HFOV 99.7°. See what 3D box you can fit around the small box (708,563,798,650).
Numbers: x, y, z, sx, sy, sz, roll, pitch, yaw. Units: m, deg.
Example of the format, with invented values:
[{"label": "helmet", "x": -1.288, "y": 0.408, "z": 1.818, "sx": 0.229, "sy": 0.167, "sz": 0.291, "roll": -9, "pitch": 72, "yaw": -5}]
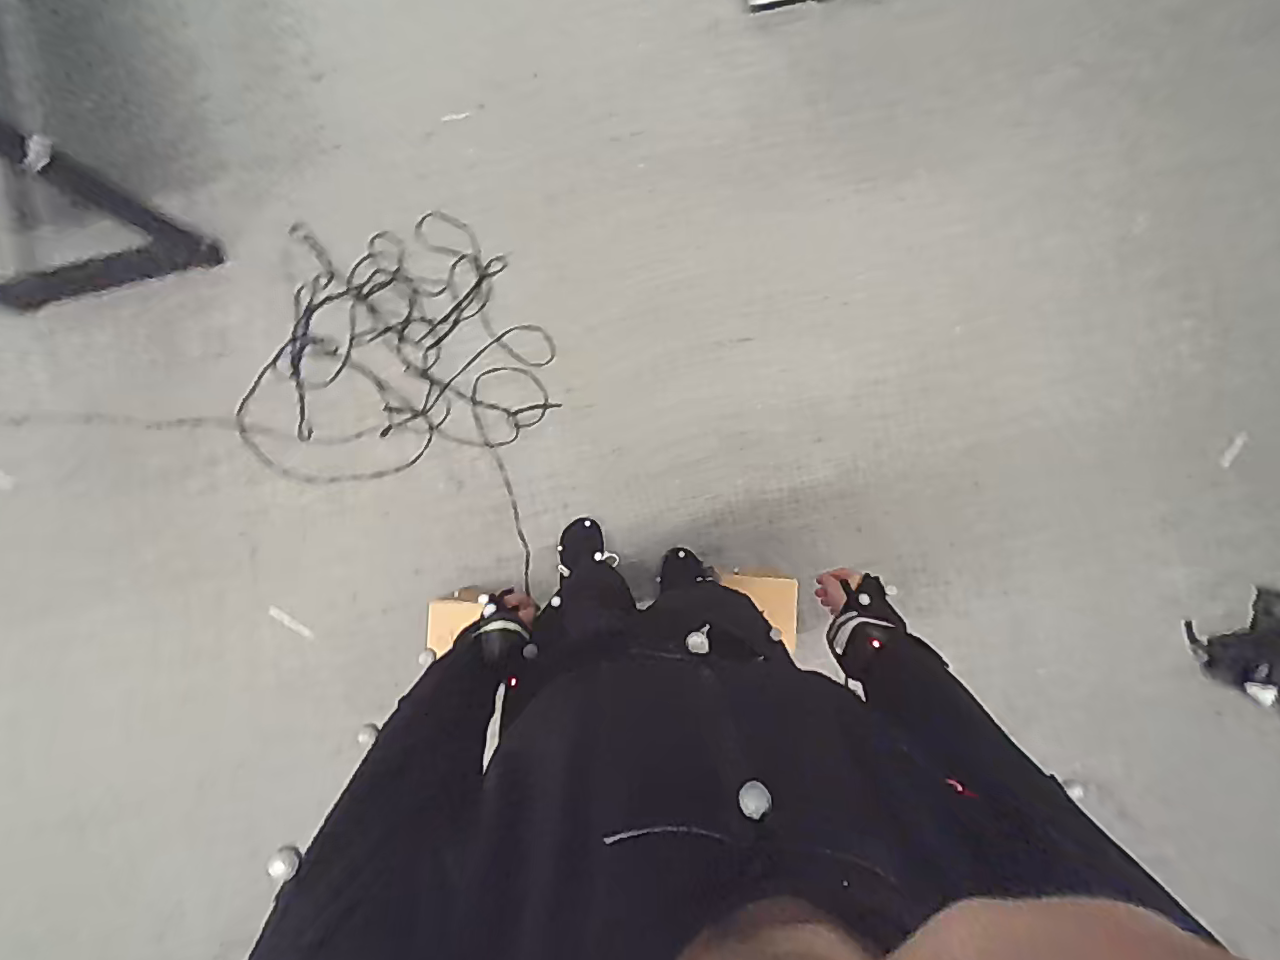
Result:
[{"label": "small box", "x": 0.261, "y": 0.292, "z": 1.279, "sx": 0.179, "sy": 0.176, "sz": 0.168, "roll": 3, "pitch": 89, "yaw": 2}]
